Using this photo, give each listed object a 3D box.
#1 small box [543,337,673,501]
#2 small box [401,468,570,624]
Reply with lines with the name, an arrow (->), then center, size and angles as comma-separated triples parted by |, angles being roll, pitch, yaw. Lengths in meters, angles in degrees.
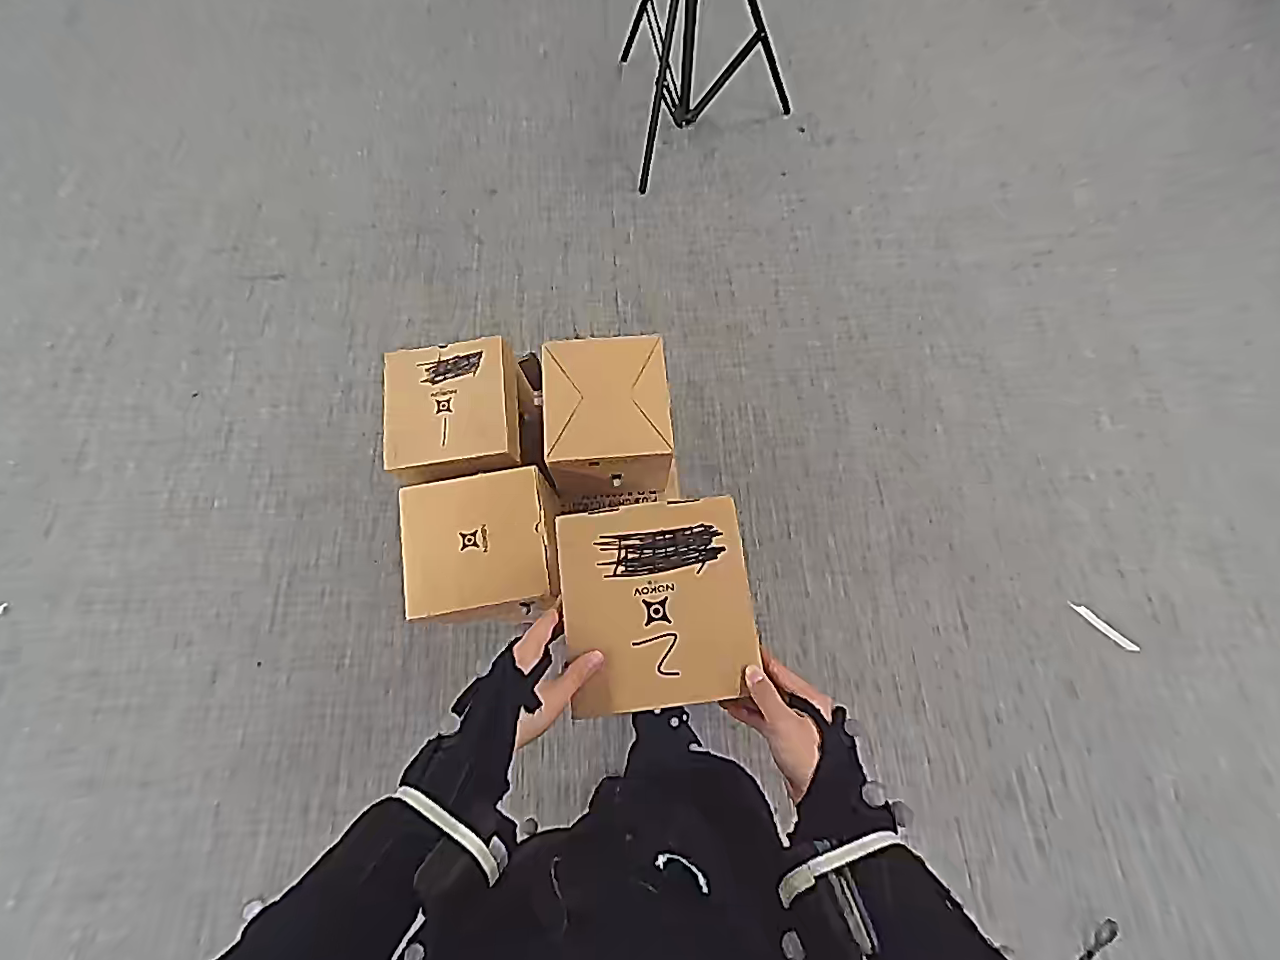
small box -> -0.046, -0.082, 0.786 | 0.168, 0.176, 0.179 | -4, 72, -4
small box -> -0.201, 0.098, 0.735 | 0.179, 0.176, 0.168 | -10, 73, -3
